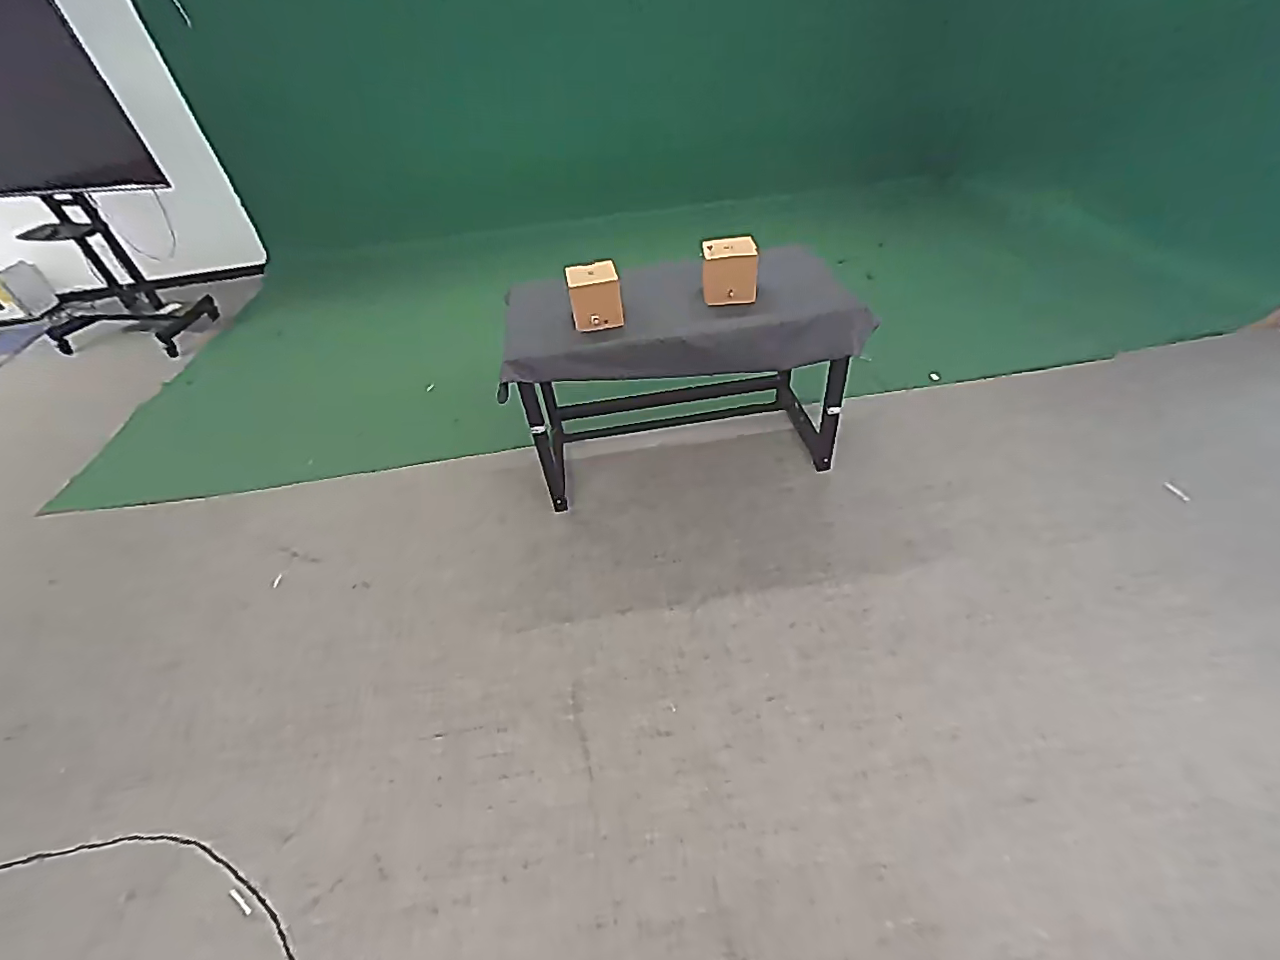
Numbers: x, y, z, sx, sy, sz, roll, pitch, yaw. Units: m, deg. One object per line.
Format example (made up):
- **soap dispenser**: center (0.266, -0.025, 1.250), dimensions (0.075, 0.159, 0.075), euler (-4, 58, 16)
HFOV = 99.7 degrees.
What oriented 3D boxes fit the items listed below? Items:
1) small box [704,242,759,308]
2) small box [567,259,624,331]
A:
- **small box**: center (0.319, -0.724, 1.914), dimensions (0.179, 0.176, 0.168), euler (-3, 43, 4)
- **small box**: center (-0.152, -0.635, 1.857), dimensions (0.168, 0.176, 0.179), euler (-10, 42, -1)
